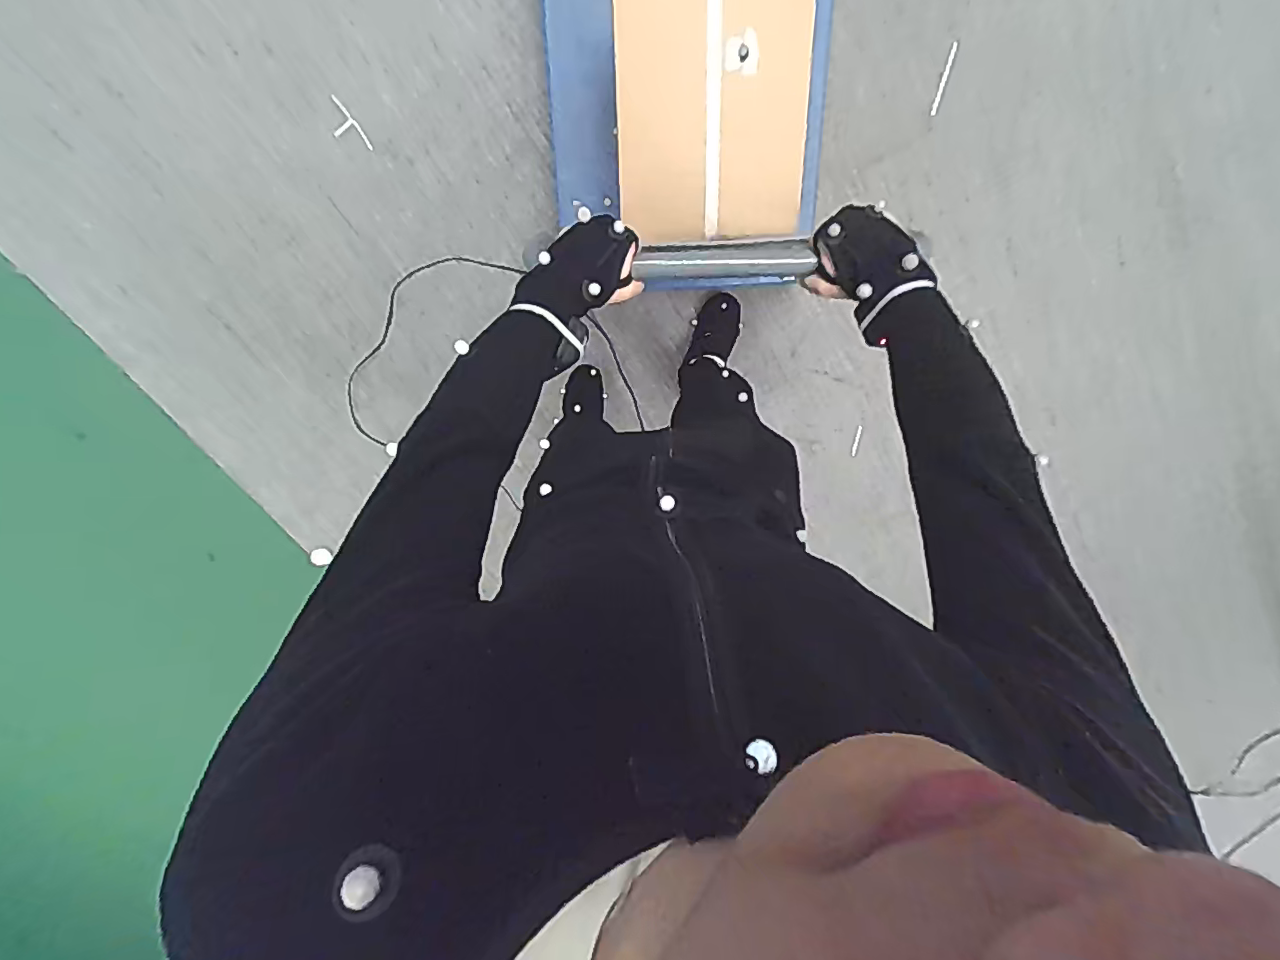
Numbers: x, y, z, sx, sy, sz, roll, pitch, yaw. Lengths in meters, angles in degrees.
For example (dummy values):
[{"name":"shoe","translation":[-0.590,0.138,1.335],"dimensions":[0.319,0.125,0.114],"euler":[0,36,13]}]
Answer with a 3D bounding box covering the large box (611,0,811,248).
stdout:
[{"name":"large box","translation":[0.123,-0.669,1.022],"dimensions":[0.320,0.320,0.408],"euler":[-2,112,2]}]
